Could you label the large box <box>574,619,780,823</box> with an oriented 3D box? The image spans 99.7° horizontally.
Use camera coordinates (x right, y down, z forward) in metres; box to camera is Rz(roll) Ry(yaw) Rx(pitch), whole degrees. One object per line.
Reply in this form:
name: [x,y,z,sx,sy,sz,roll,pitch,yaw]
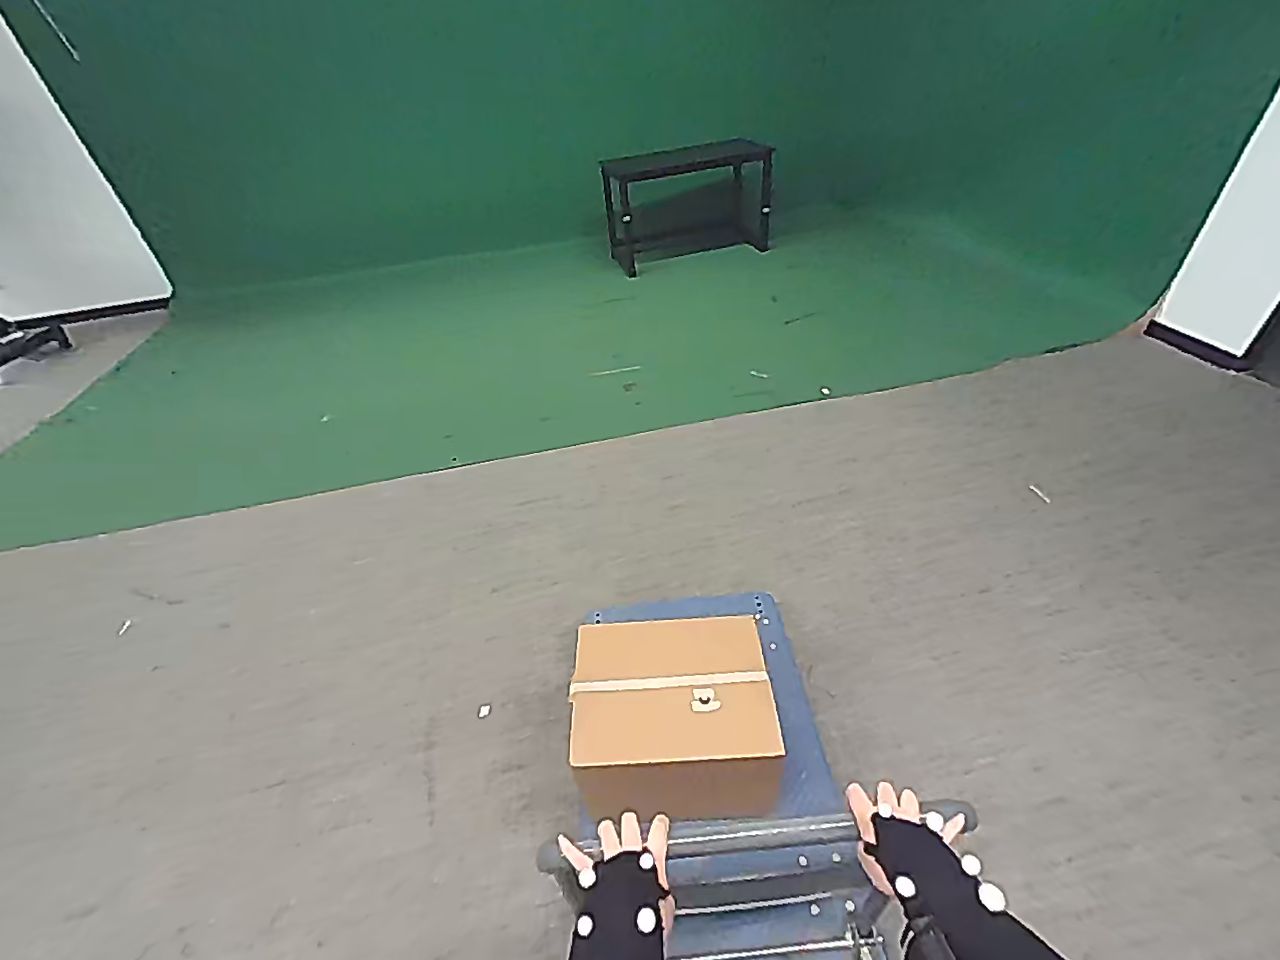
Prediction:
large box: [0.071,0.545,1.231,0.408,0.320,0.320,-3,40,1]
